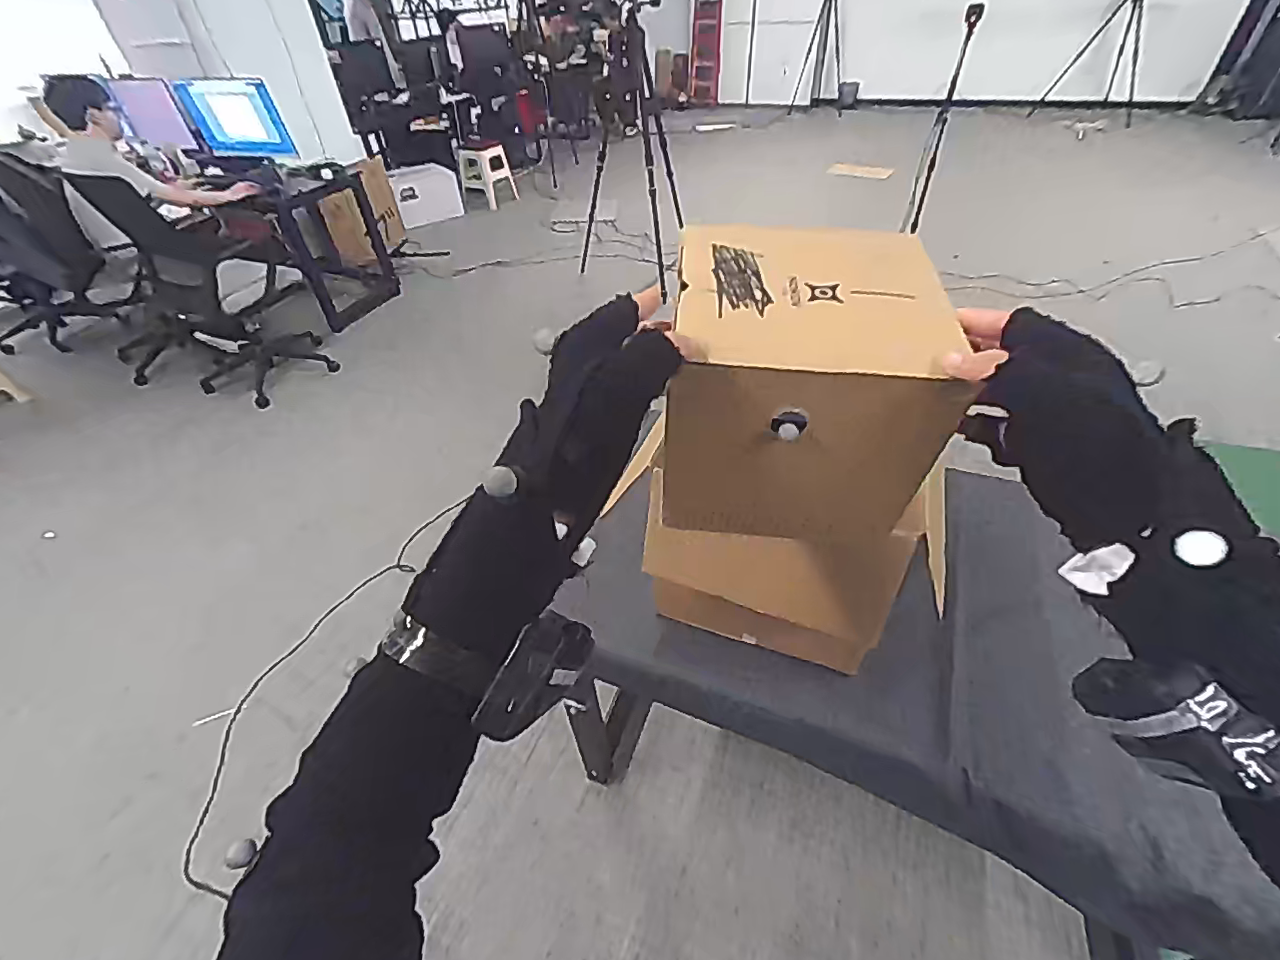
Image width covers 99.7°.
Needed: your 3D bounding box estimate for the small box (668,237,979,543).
[{"bbox_3d":[0.114,-0.066,0.421,0.179,0.176,0.168,5,51,4],"label":"small box"}]
